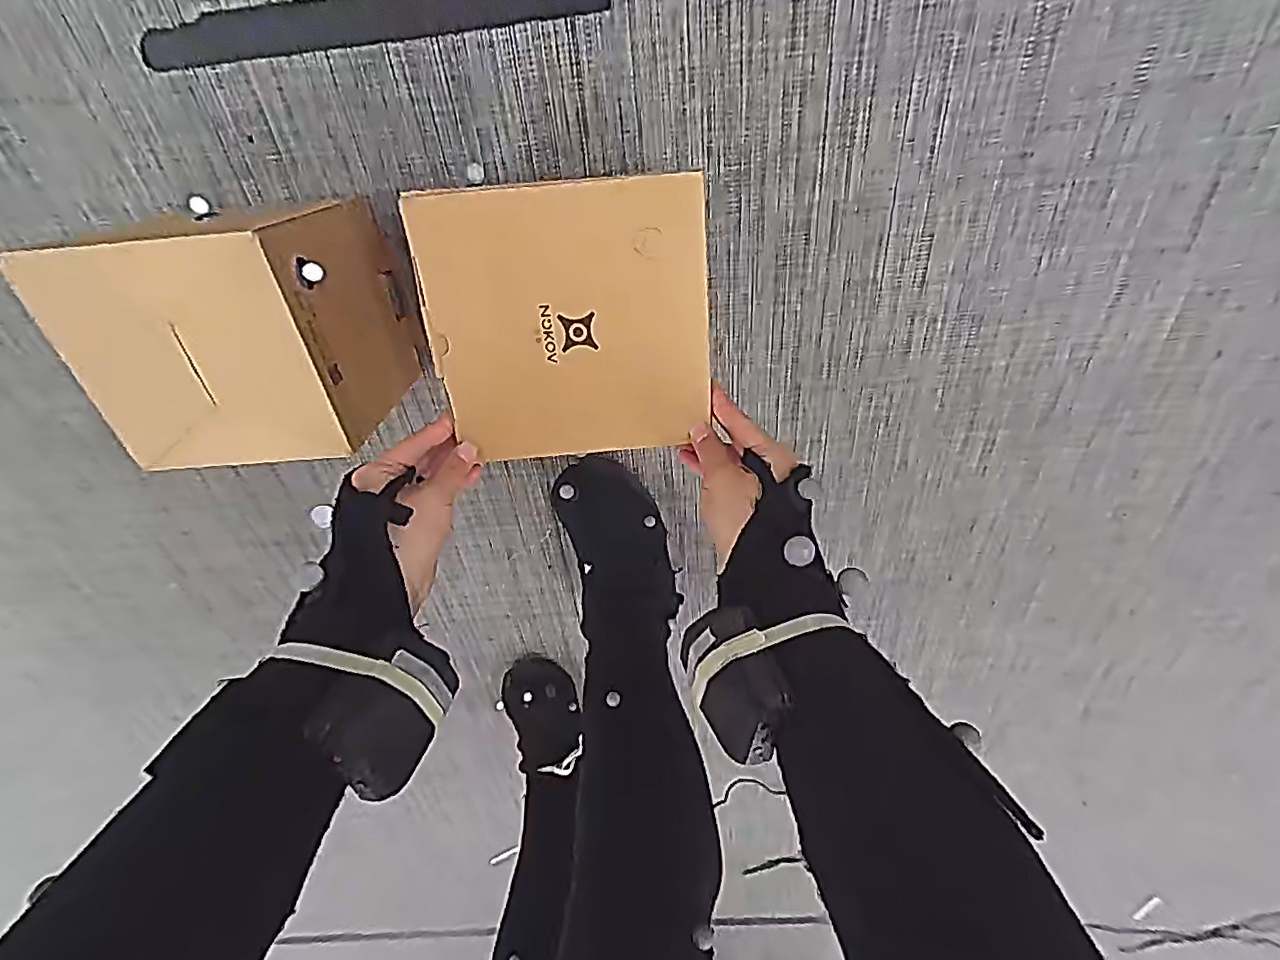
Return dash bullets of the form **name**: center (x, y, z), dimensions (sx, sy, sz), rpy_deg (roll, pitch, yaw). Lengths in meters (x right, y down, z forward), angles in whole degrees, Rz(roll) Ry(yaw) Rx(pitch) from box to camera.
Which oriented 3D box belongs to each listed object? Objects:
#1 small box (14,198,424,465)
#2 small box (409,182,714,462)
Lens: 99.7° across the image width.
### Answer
- **small box**: center (-0.313, -0.125, 0.449), dimensions (0.179, 0.176, 0.168), rpy_deg (-4, 124, 2)
- **small box**: center (-0.044, -0.127, 0.414), dimensions (0.179, 0.176, 0.168), rpy_deg (-5, 115, 0)
